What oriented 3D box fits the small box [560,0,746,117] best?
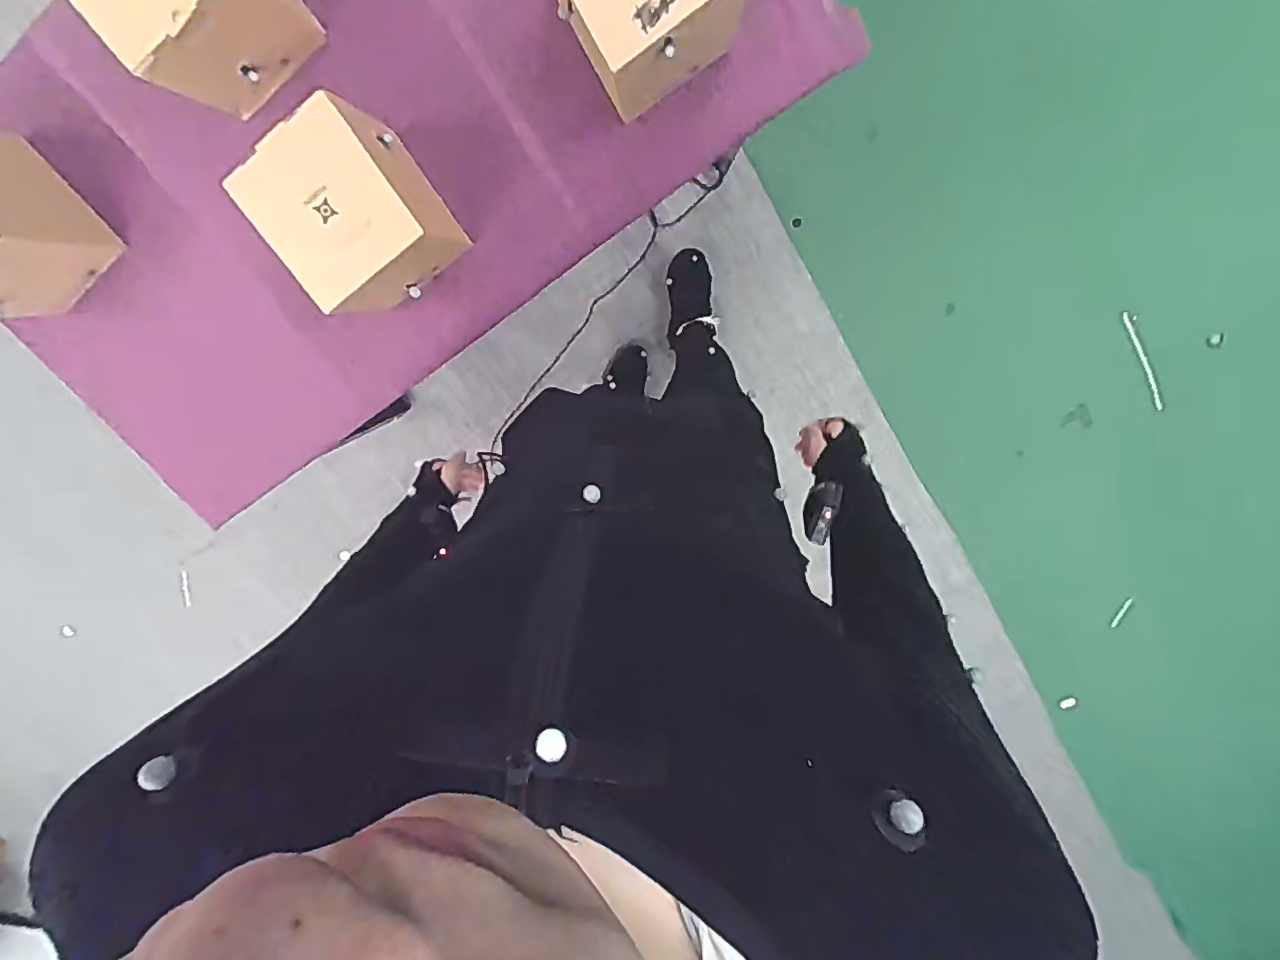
[{"bbox_3d":[0.002,-0.553,0.596,0.168,0.176,0.179,-30,103,12],"label":"small box"}]

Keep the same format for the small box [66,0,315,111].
[{"bbox_3d":[-0.522,-0.565,0.606,0.168,0.176,0.179,-34,106,12],"label":"small box"}]

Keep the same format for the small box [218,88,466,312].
[{"bbox_3d":[-0.356,-0.331,0.682,0.168,0.176,0.179,-31,105,12],"label":"small box"}]
